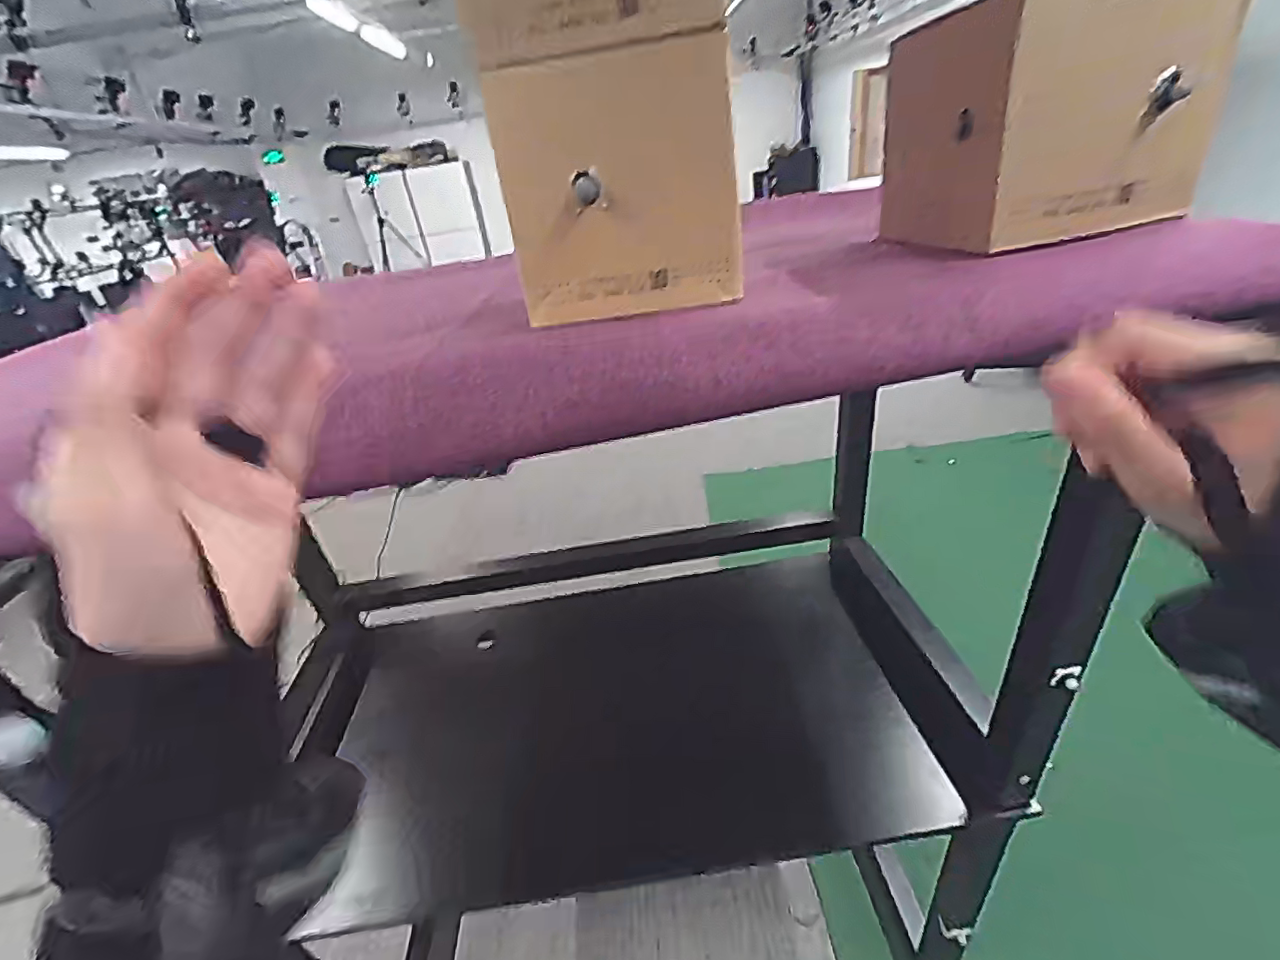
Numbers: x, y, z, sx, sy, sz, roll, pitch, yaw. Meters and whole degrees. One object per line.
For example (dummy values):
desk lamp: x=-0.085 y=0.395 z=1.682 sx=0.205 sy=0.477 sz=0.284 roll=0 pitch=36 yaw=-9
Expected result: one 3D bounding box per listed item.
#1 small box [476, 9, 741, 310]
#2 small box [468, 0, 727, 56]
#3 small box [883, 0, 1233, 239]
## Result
small box: x=-0.012 y=-0.245 z=0.446 sx=0.168 sy=0.176 sz=0.179 roll=-6 pitch=29 yaw=5
small box: x=-0.033 y=-0.388 z=0.367 sx=0.168 sy=0.176 sz=0.179 roll=-6 pitch=30 yaw=5
small box: x=0.325 y=-0.306 z=0.453 sx=0.168 sy=0.176 sz=0.179 roll=-10 pitch=28 yaw=-1
